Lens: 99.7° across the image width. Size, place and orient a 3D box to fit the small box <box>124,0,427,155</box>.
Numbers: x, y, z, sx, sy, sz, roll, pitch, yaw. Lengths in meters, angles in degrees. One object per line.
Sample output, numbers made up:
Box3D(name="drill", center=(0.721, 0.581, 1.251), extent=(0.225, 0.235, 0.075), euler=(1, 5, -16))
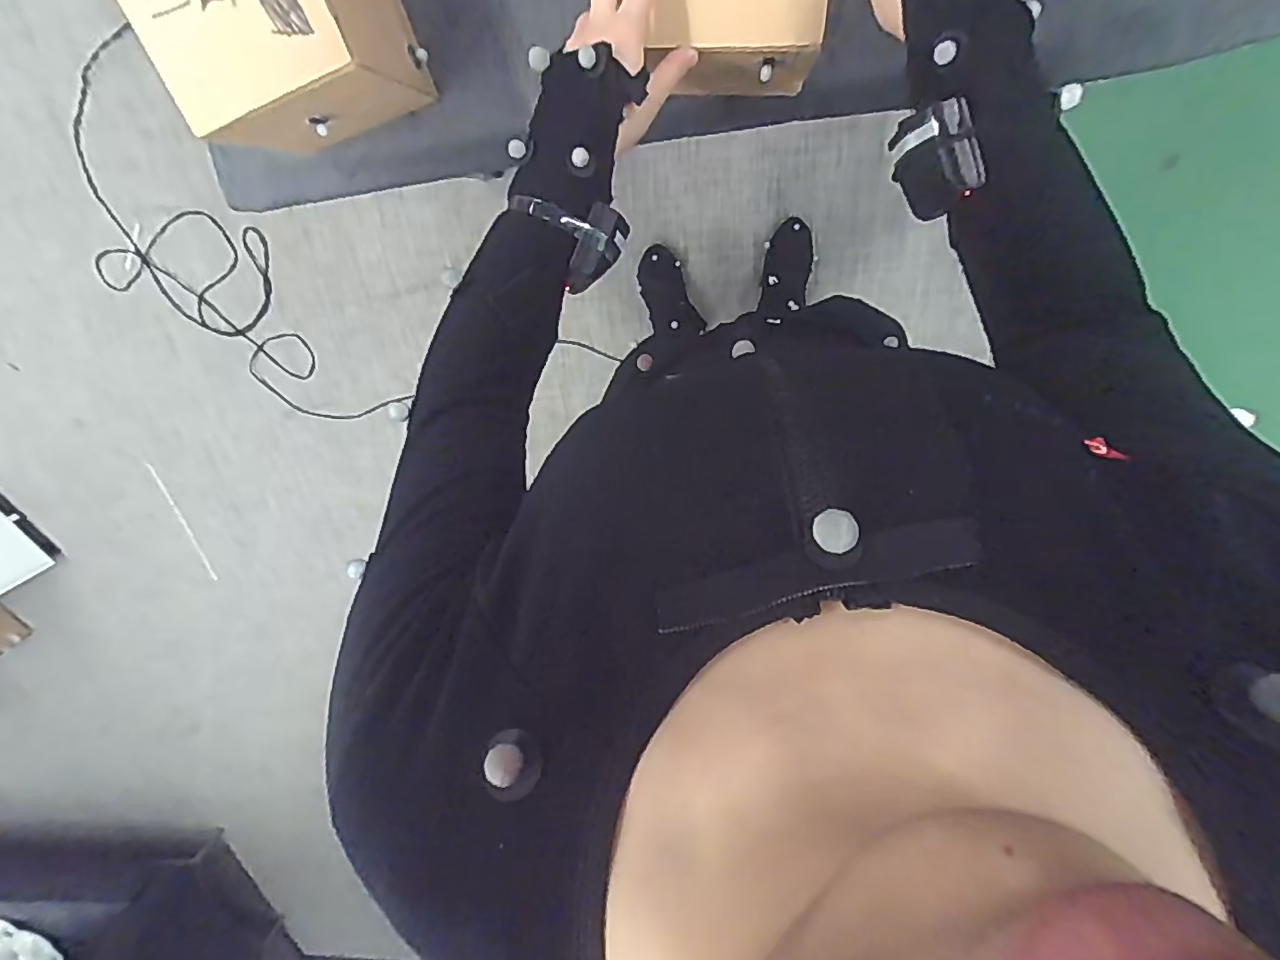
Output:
Box3D(name="small box", center=(-0.330, -0.430, 0.512), extent=(0.179, 0.176, 0.168), euler=(-13, 115, 13))

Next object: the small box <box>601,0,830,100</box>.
Box3D(name="small box", center=(0.068, -0.438, 0.462), extent=(0.179, 0.176, 0.168), euler=(4, 116, 6))
